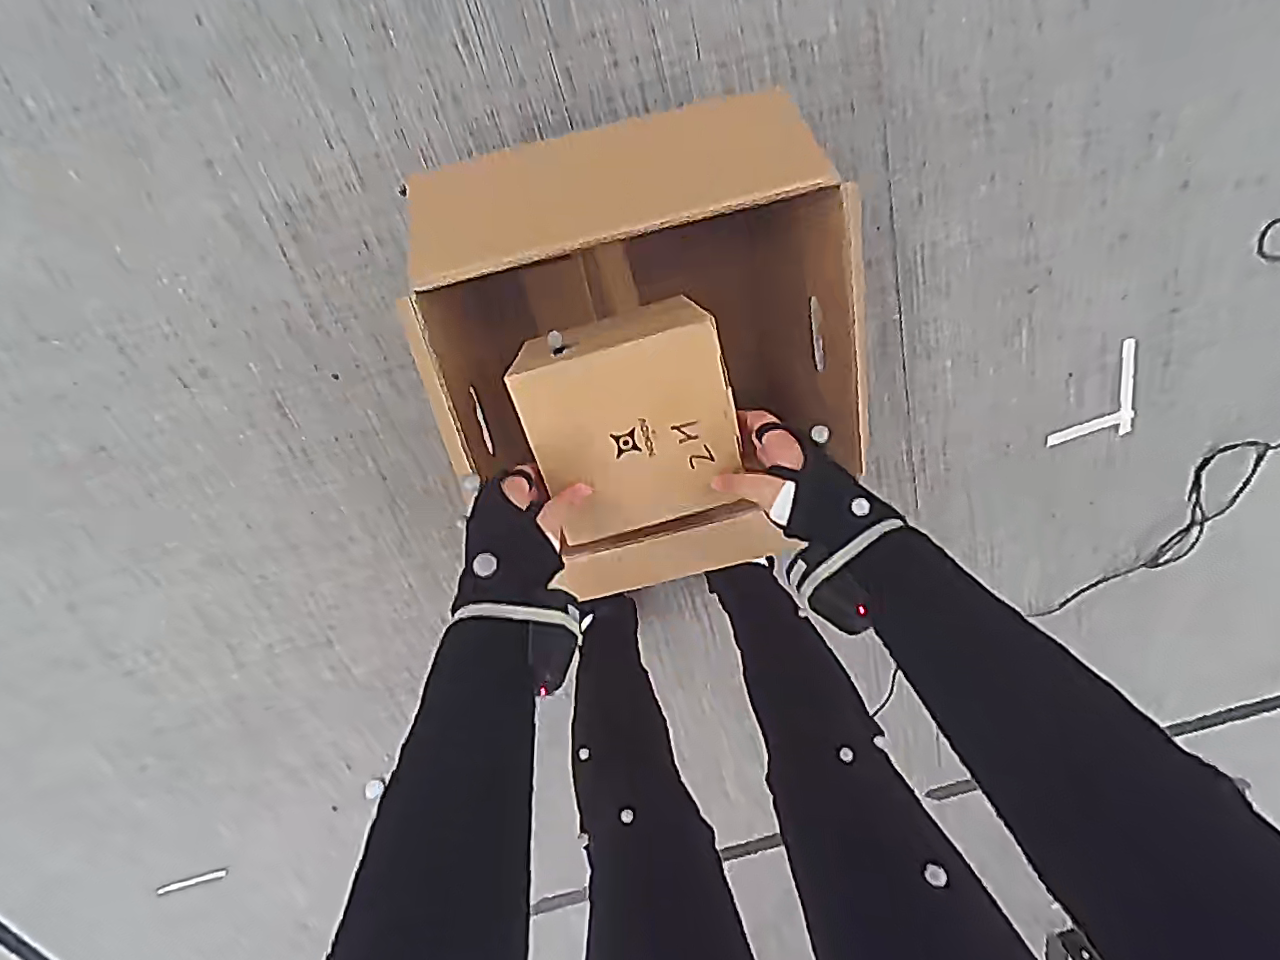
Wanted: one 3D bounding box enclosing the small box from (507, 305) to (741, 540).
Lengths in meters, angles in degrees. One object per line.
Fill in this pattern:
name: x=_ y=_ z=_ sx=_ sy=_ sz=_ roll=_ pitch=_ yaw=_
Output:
small box: x=-0.014 y=-0.067 z=0.547 sx=0.179 sy=0.176 sz=0.168 roll=-16 pitch=115 yaw=1
